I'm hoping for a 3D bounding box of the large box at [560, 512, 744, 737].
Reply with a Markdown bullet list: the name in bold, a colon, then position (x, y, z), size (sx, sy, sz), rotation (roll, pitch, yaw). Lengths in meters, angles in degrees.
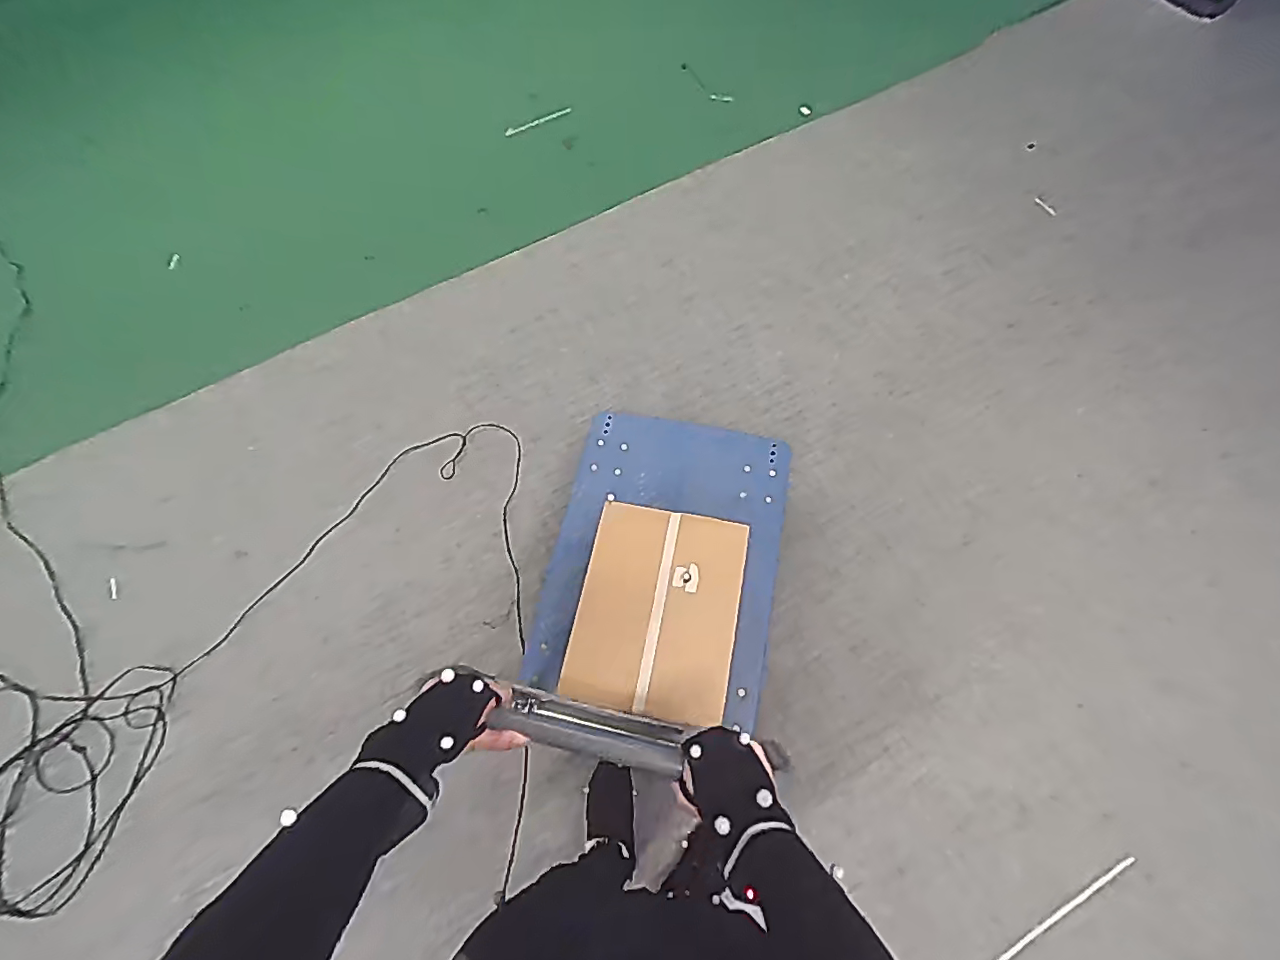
- **large box**: position (0.042, 0.334, 1.219), size (0.320, 0.320, 0.408), rotation (10, 66, 8)
